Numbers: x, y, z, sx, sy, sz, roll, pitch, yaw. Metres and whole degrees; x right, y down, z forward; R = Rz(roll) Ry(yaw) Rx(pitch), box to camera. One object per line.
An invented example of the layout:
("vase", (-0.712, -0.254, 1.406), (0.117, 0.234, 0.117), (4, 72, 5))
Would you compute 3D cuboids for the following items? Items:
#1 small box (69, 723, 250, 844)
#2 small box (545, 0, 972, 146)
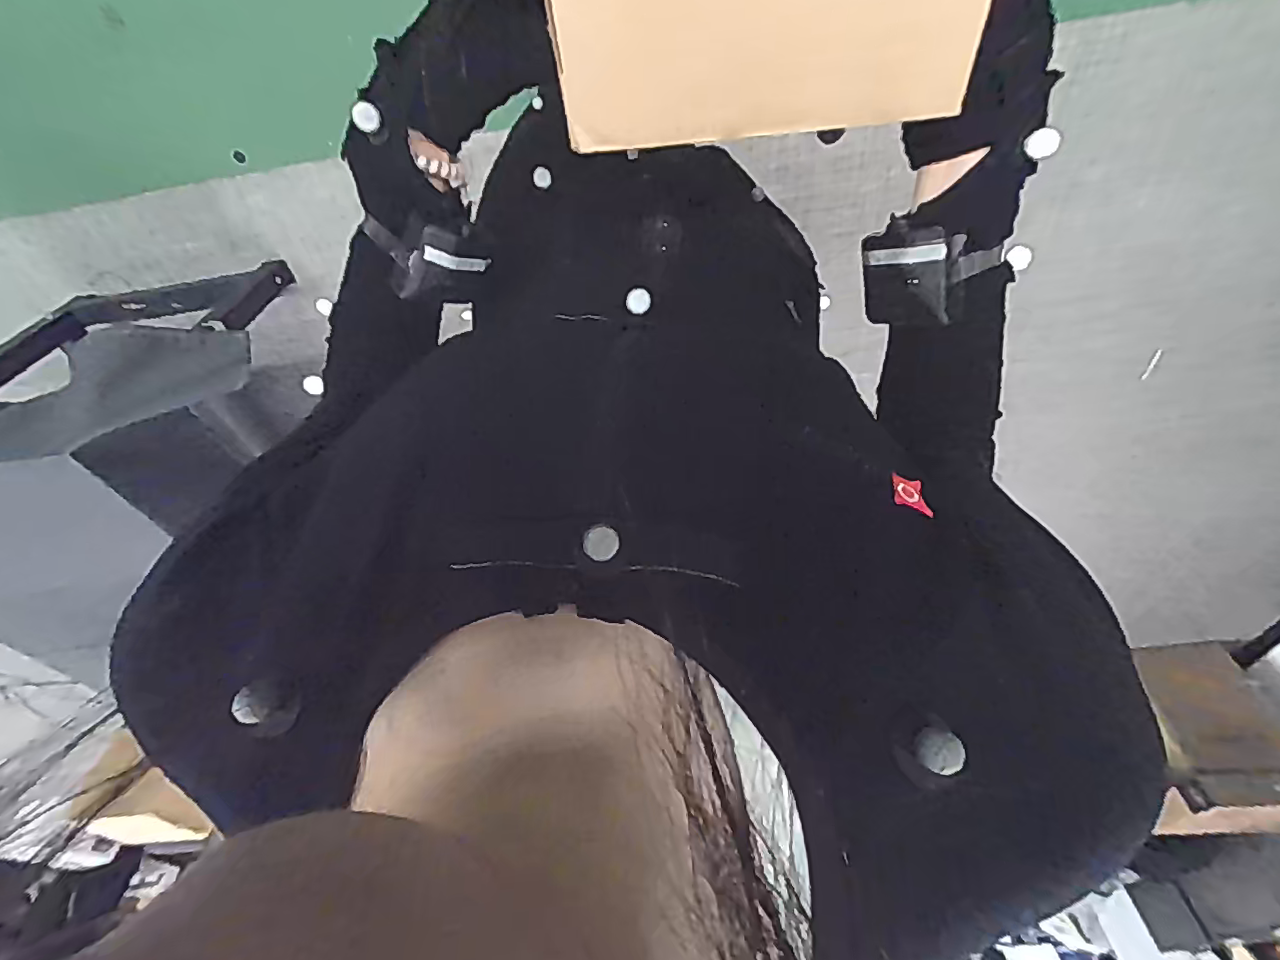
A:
("small box", (-0.947, 0.609, 1.088), (0.179, 0.176, 0.168), (-8, 134, 5))
("small box", (0.048, -0.278, 0.248), (0.179, 0.176, 0.168), (-1, 137, 7))
